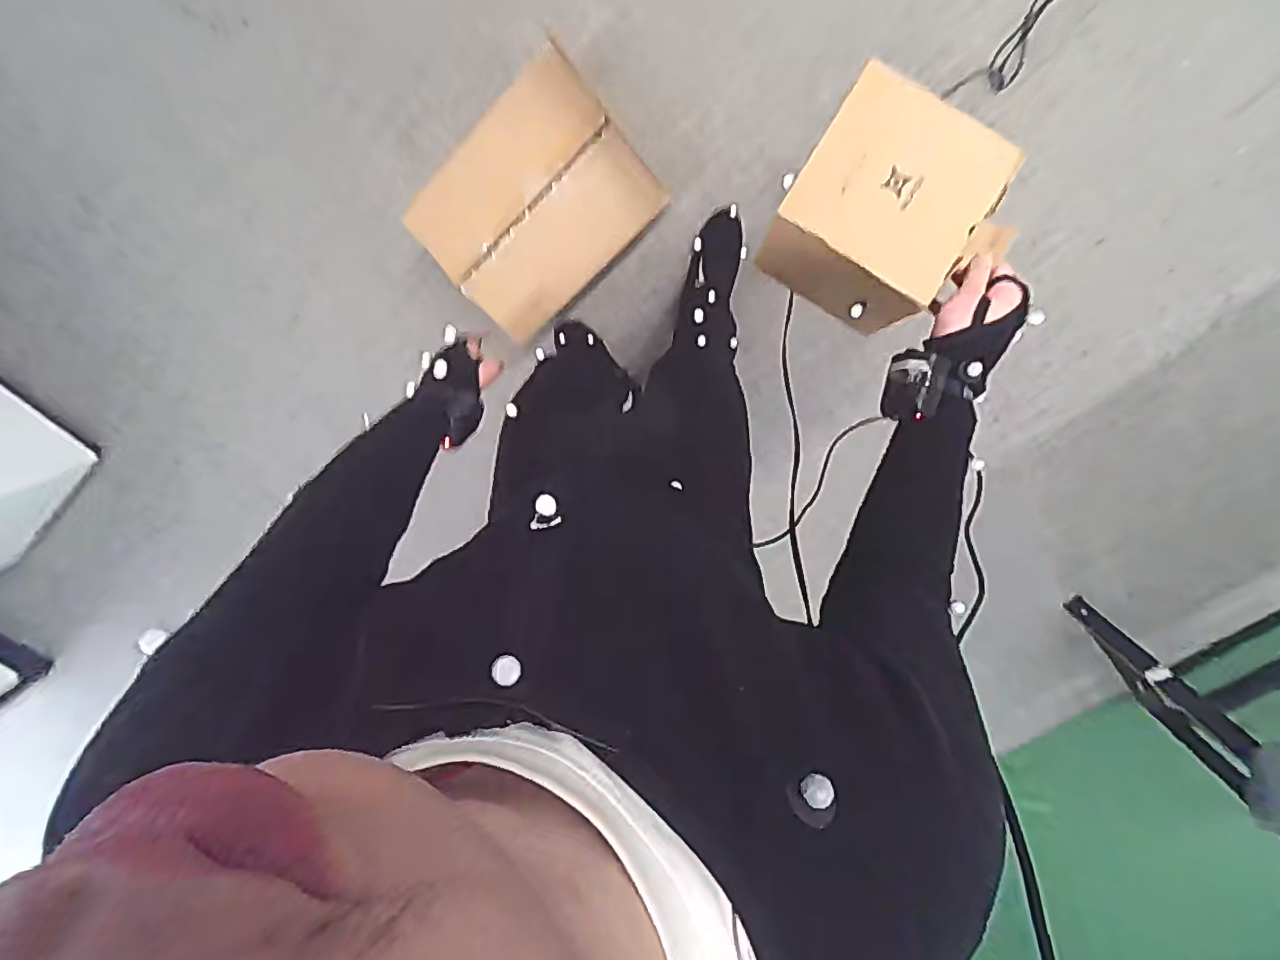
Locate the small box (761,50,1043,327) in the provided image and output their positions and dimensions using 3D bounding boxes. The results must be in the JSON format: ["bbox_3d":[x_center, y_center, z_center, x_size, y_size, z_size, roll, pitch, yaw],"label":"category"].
[{"bbox_3d":[0.256,-0.283,0.578,0.179,0.176,0.168,35,94,0],"label":"small box"}]
